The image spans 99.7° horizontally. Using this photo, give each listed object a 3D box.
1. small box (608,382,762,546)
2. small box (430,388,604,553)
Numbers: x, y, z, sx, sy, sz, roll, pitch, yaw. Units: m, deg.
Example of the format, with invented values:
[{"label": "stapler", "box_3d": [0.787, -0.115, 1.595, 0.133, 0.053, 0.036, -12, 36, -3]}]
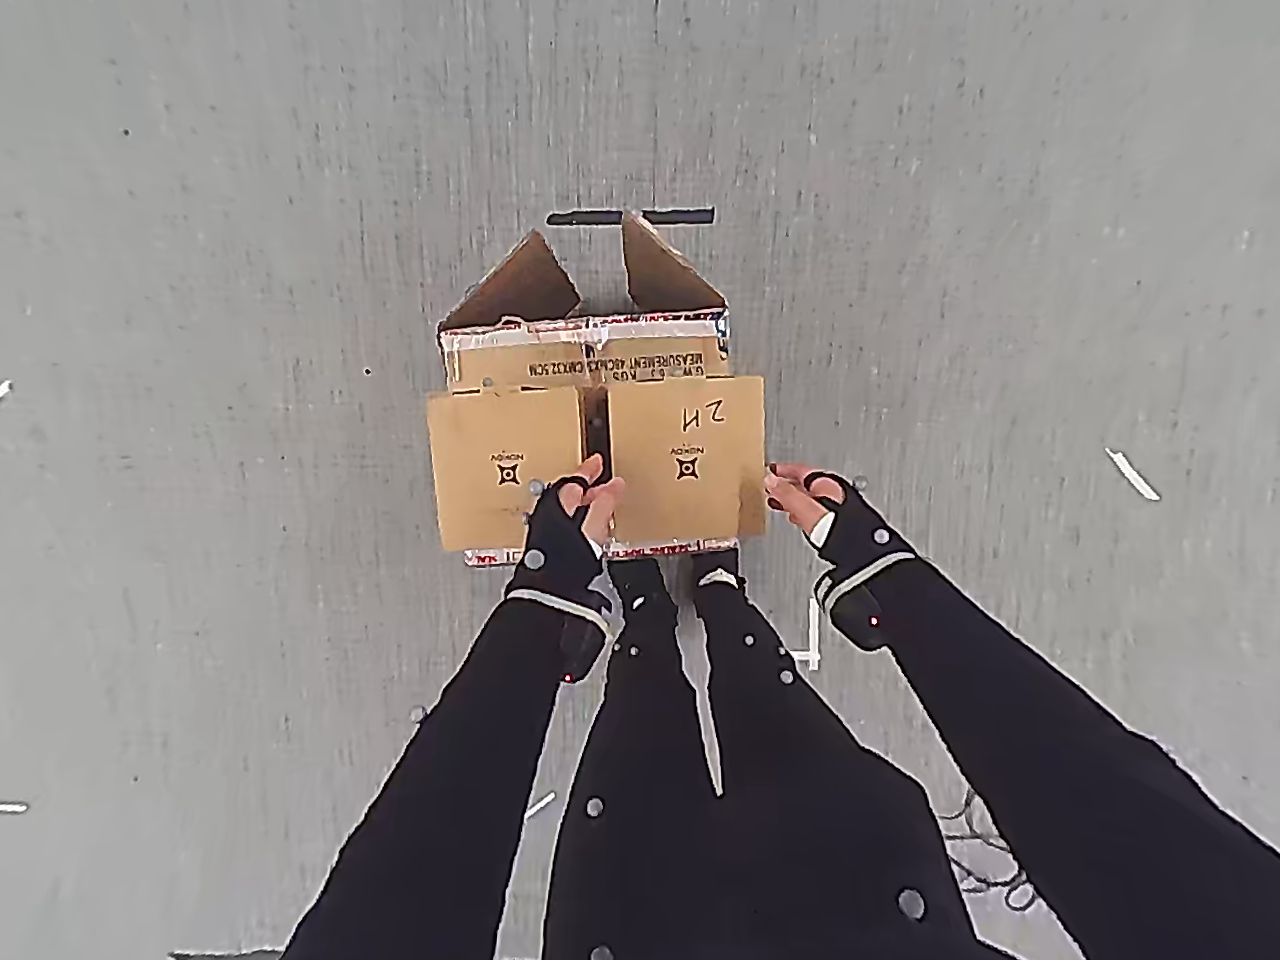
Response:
[{"label": "small box", "box_3d": [0.051, -0.027, 0.661, 0.168, 0.176, 0.179, -3, 98, 0]}, {"label": "small box", "box_3d": [-0.137, -0.020, 0.666, 0.168, 0.176, 0.179, -3, 100, 3]}]
